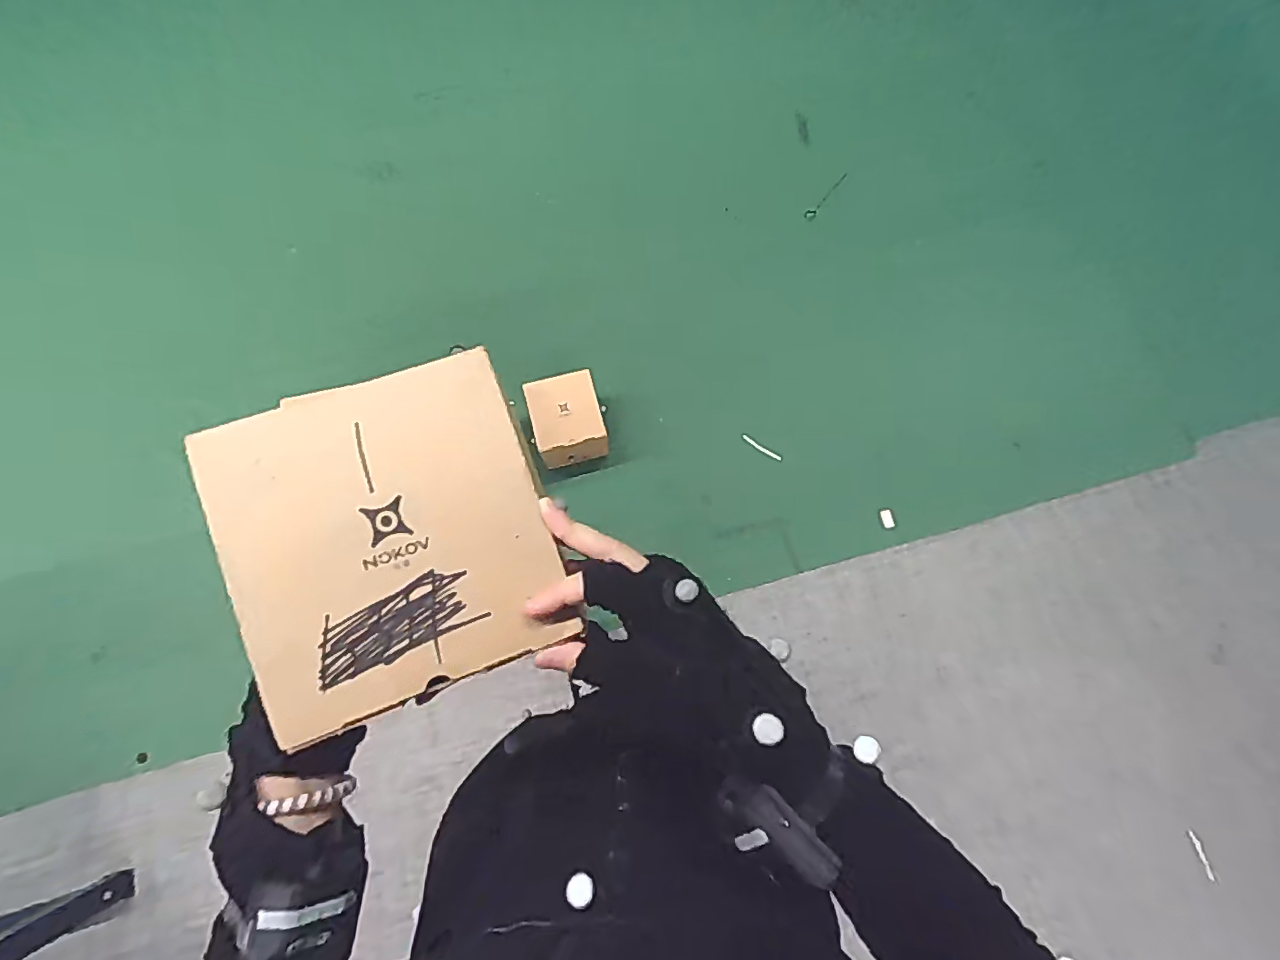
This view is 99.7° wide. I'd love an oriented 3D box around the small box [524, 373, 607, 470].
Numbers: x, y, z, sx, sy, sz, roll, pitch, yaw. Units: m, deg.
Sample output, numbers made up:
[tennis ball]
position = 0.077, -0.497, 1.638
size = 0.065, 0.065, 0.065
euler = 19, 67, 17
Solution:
[small box]
position = -0.185, -0.143, 1.367
size = 0.168, 0.176, 0.179
euler = -15, 79, -6
